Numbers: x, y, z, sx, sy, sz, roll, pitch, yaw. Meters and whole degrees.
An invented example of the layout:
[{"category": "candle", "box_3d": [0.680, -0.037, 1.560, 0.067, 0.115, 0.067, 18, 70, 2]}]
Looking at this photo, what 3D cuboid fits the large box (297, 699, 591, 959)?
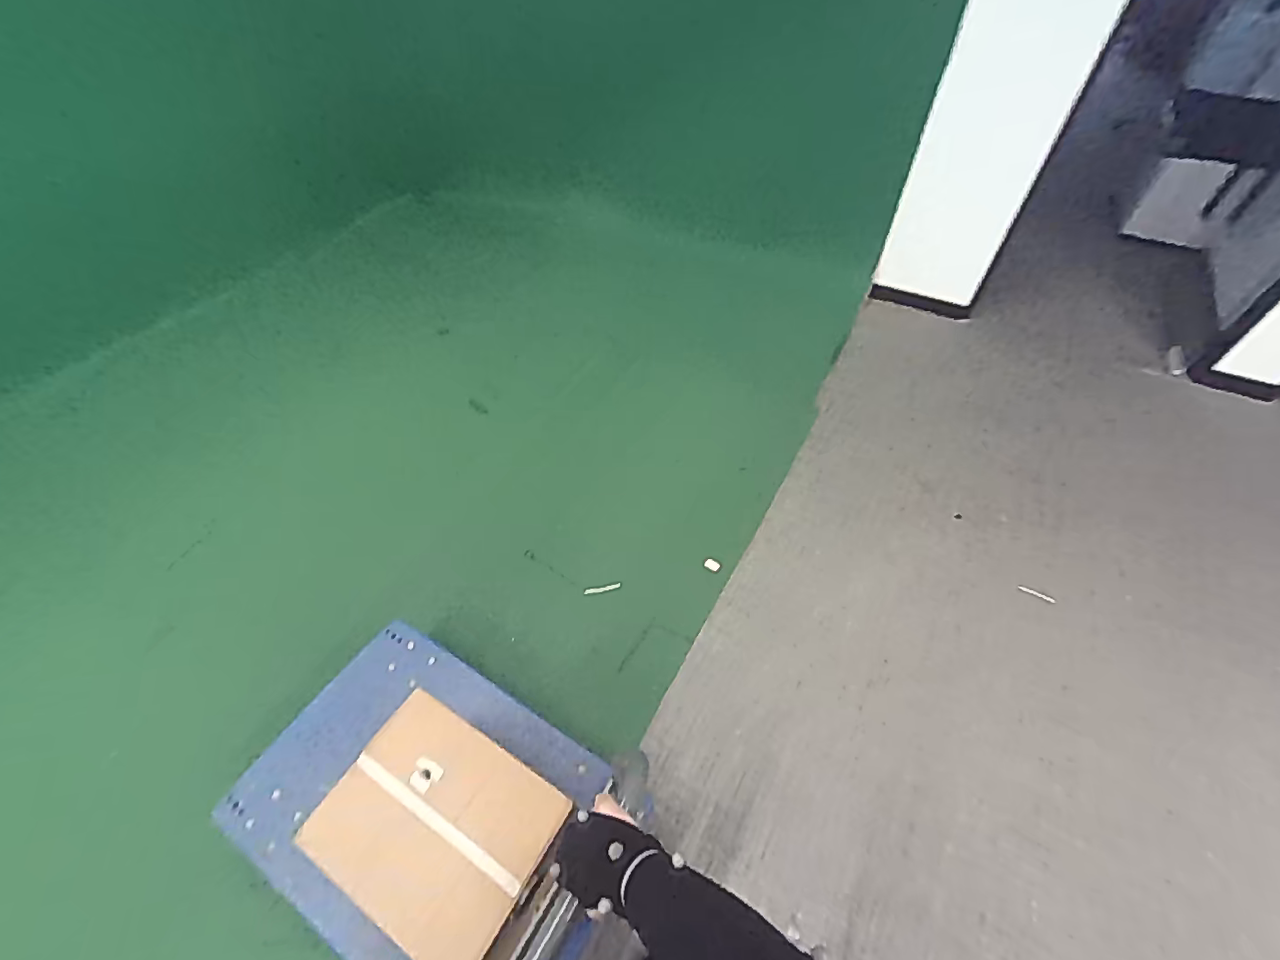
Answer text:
[{"category": "large box", "box_3d": [-0.358, 0.719, 1.085, 0.408, 0.320, 0.320, 25, 56, 21]}]
